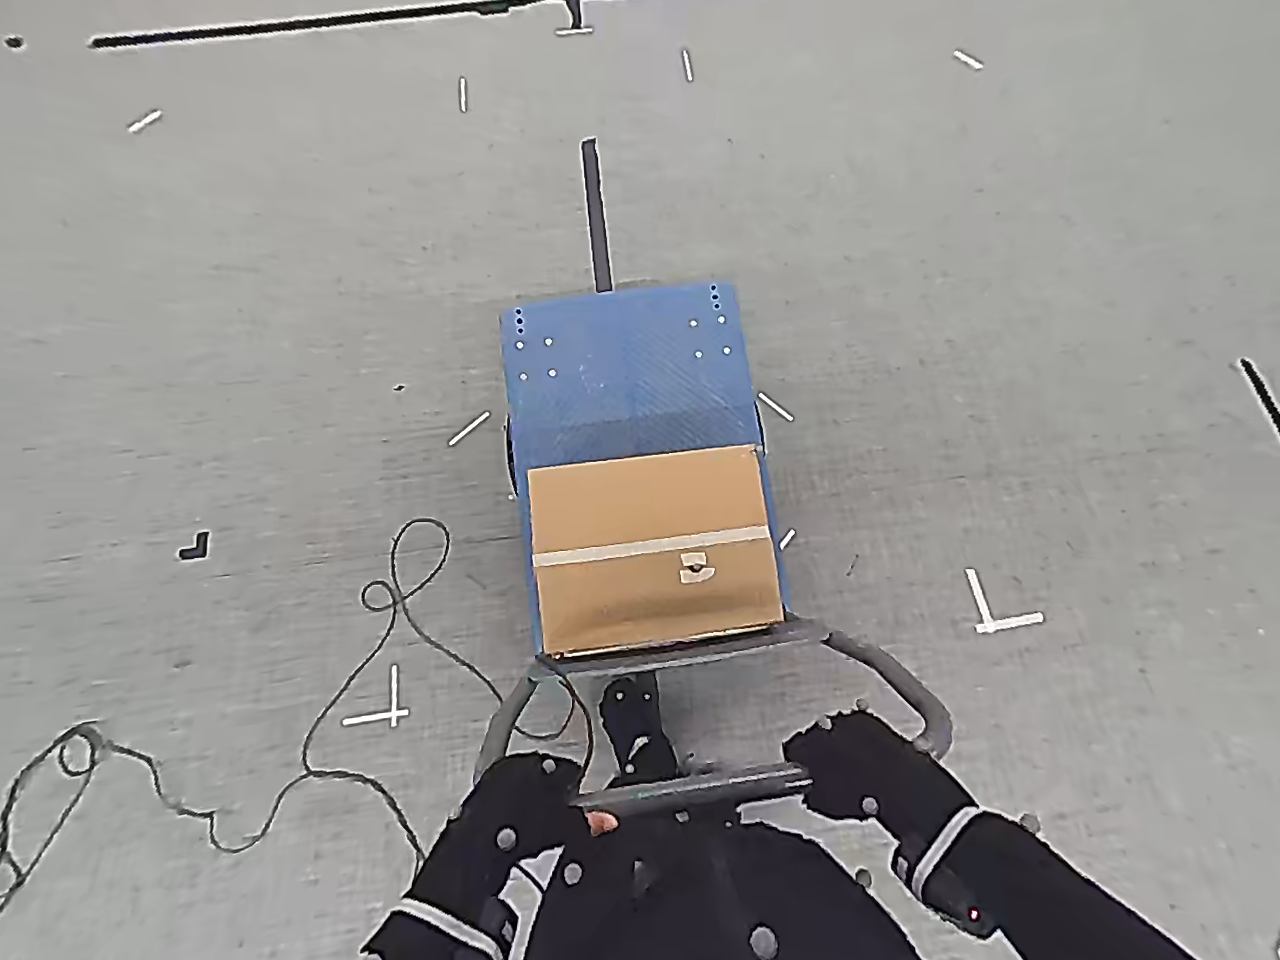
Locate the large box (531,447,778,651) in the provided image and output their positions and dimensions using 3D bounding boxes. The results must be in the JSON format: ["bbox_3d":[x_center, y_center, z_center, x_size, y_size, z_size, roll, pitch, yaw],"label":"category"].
[{"bbox_3d":[0.016,0.141,1.089,0.408,0.320,0.320,-7,81,-4],"label":"large box"}]
